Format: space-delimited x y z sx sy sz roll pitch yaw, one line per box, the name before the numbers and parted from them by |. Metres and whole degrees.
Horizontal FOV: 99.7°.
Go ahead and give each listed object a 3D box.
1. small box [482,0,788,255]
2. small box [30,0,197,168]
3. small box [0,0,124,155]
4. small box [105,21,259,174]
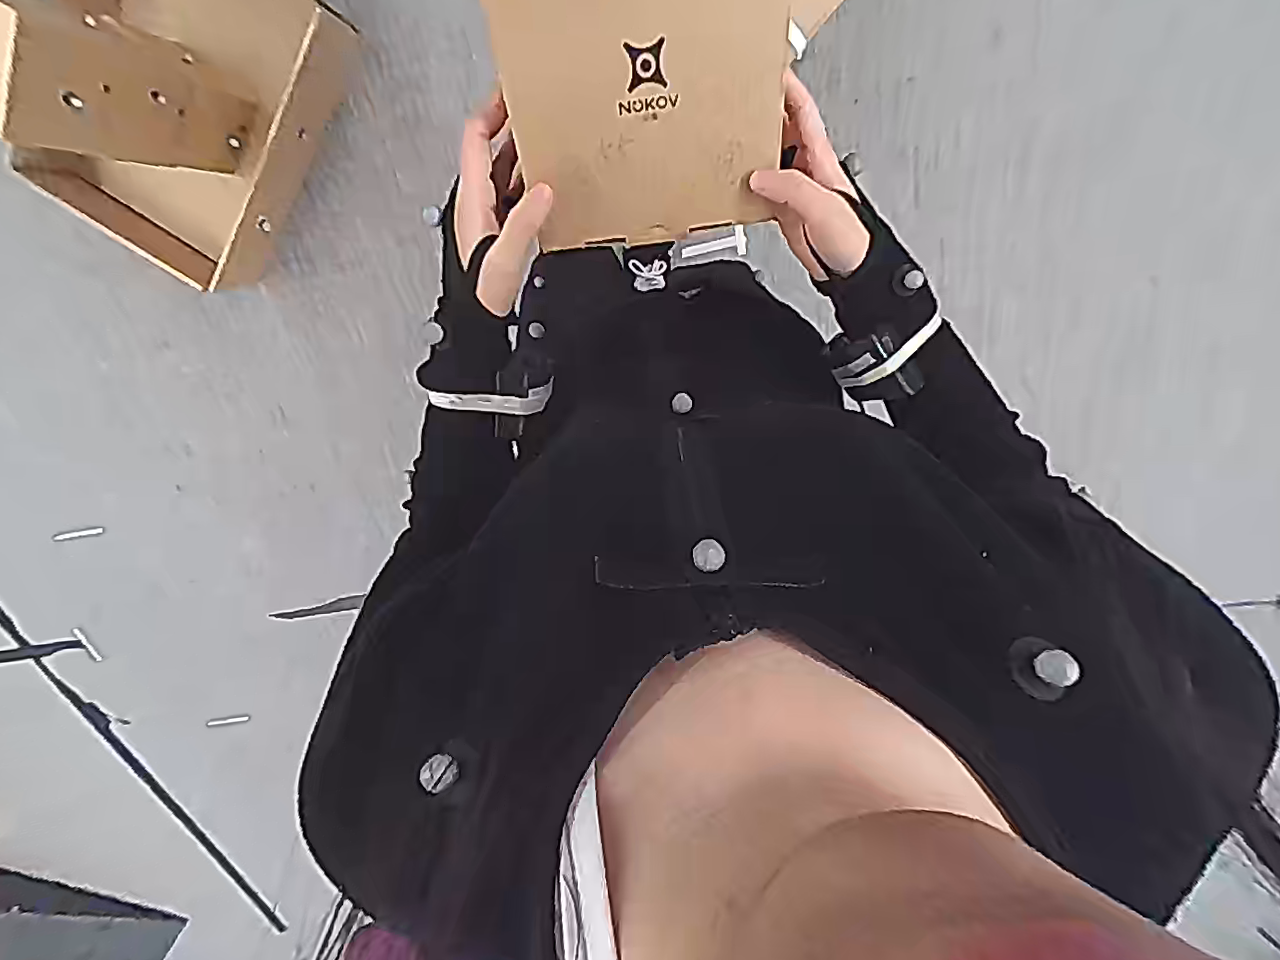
small box | -0.003 -0.286 0.374 0.168 0.176 0.179 -8 137 1
small box | -0.911 -0.659 0.918 0.179 0.176 0.168 29 110 -13
small box | -0.901 -0.592 0.767 0.179 0.176 0.168 28 110 -15
small box | -0.909 -0.731 1.063 0.179 0.176 0.168 33 110 -16
